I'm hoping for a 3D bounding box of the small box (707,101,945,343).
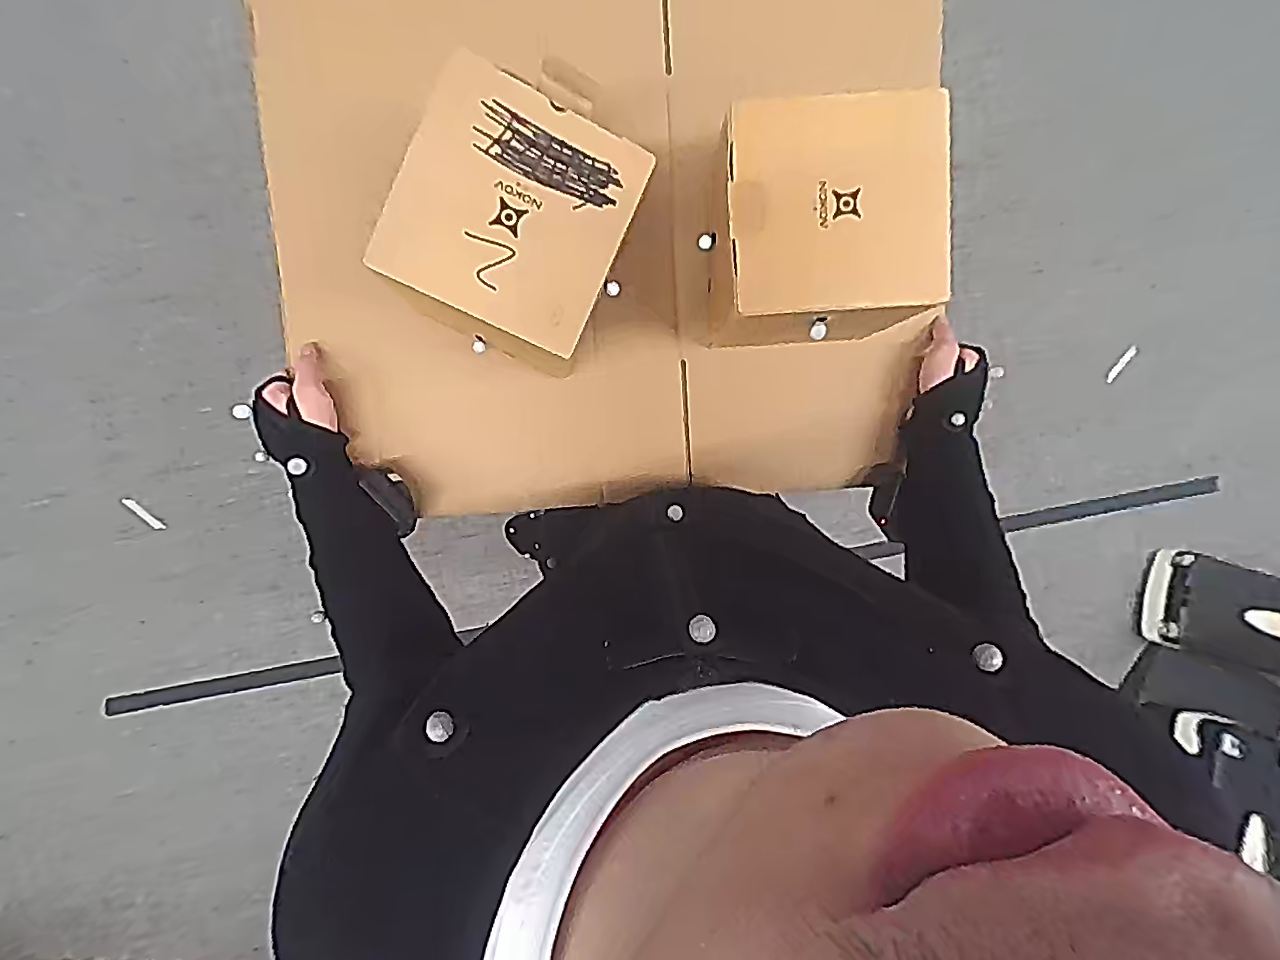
[{"bbox_3d":[0.166,-0.233,0.528,0.179,0.176,0.168,-3,95,0],"label":"small box"}]
